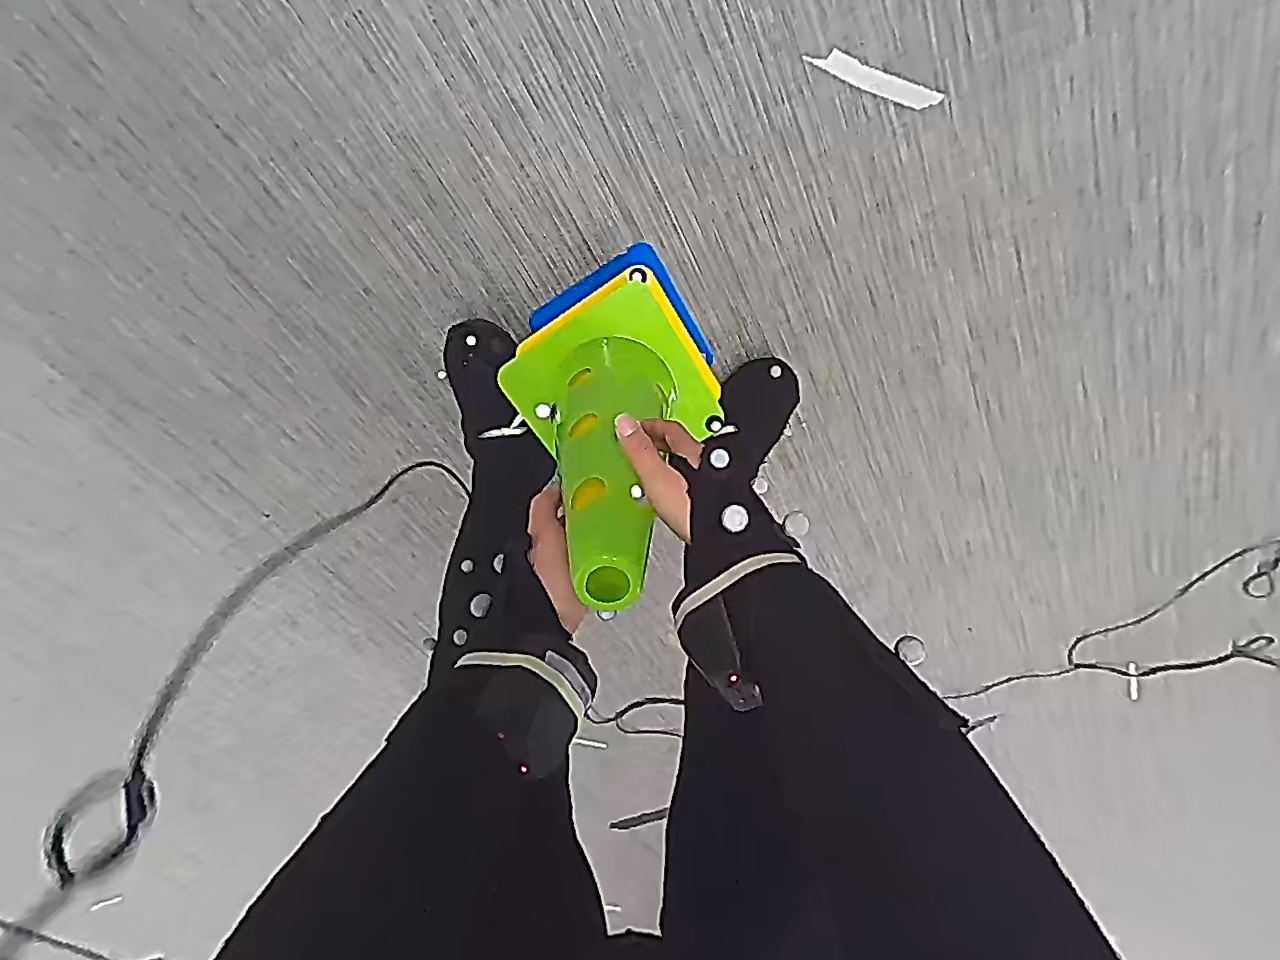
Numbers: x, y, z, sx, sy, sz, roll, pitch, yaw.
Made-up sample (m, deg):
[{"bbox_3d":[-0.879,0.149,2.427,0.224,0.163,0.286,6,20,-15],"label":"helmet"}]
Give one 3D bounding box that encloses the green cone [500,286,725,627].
[{"bbox_3d":[-0.025,-0.014,0.461,0.202,0.368,0.200,-31,112,13],"label":"green cone"}]
